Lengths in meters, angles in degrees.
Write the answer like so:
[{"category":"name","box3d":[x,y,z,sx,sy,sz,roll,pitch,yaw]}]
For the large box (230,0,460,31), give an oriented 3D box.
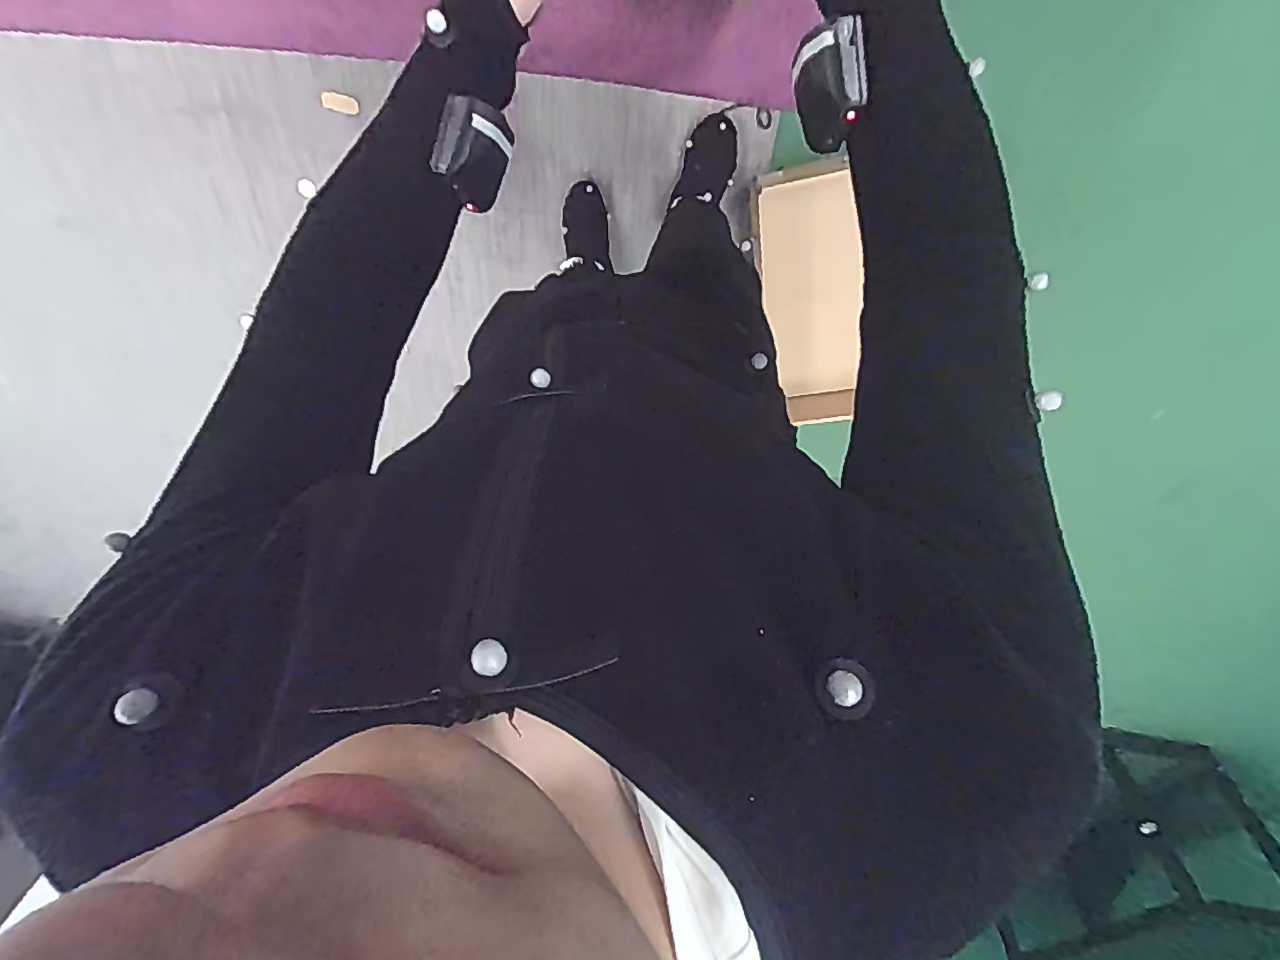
[{"category":"large box","box3d":[-0.541,-1.059,0.944,0.320,0.320,0.408,7,128,1]}]
